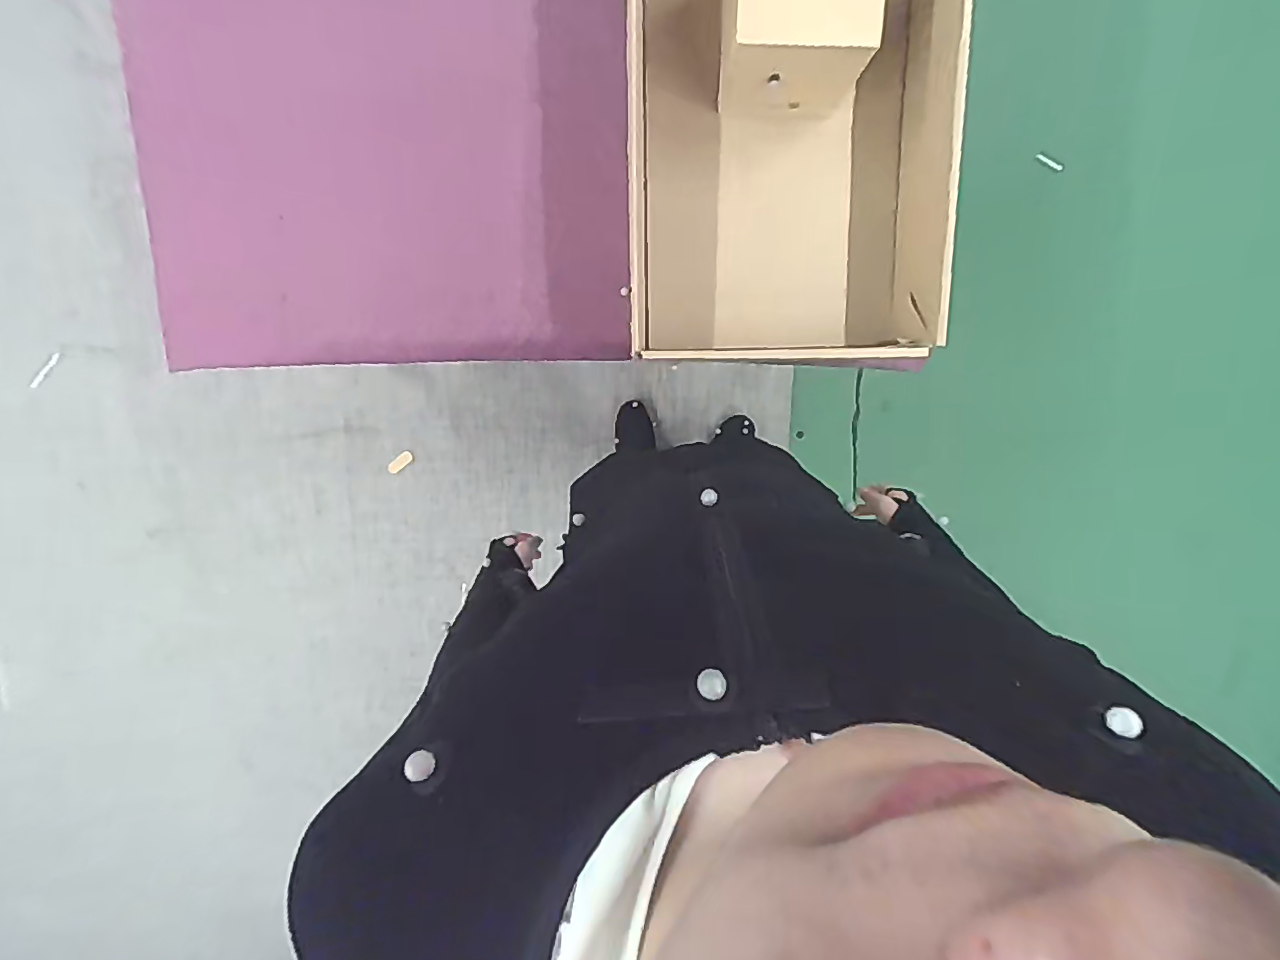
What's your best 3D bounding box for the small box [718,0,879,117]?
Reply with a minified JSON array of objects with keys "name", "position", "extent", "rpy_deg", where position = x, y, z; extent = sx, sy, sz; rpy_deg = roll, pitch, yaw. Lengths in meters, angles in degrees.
[{"name":"small box","position":[0.191,-0.588,0.680],"extent":[0.168,0.176,0.179],"rpy_deg":[2,99,1]}]
